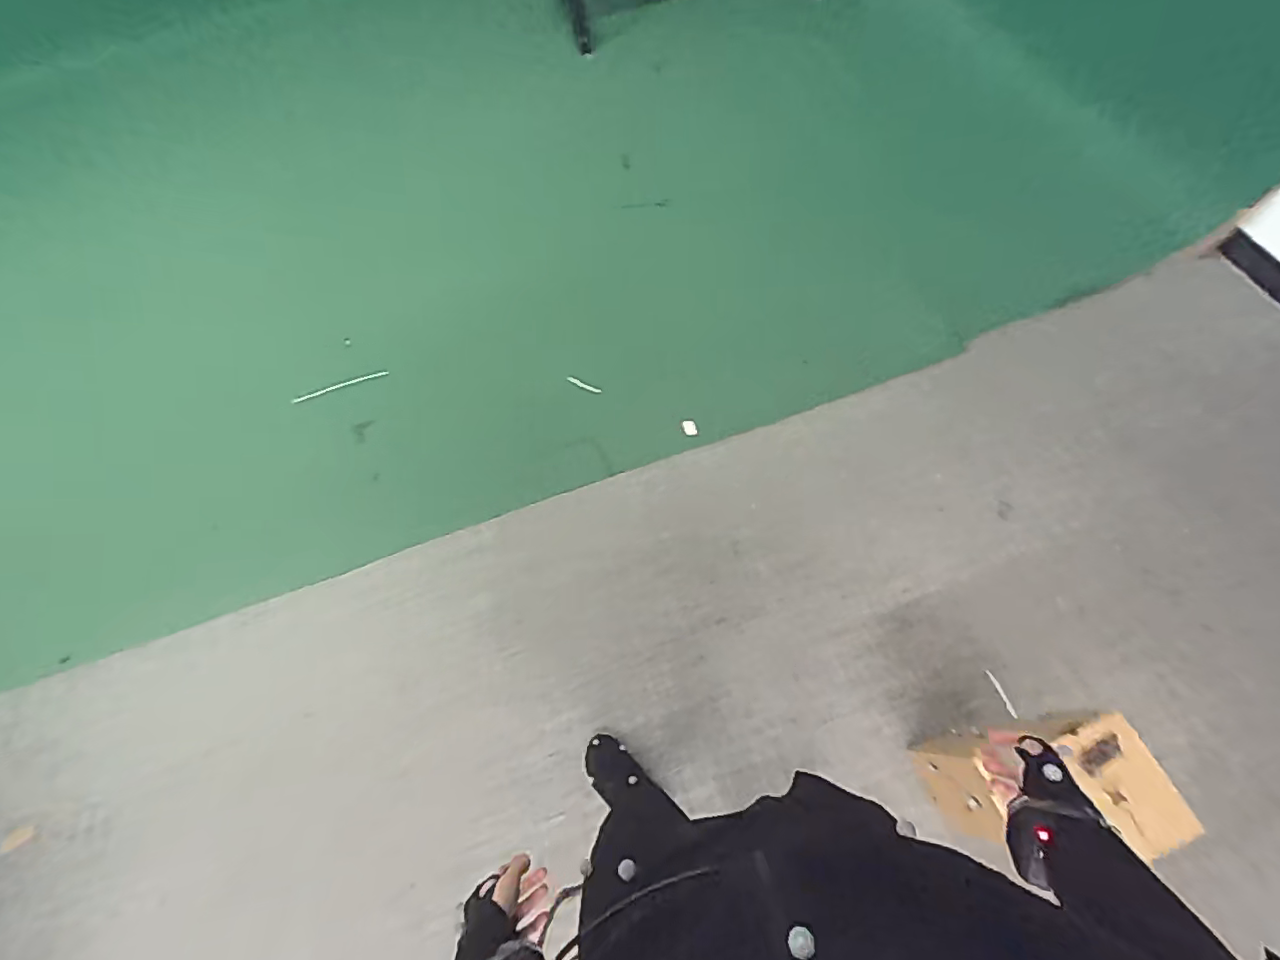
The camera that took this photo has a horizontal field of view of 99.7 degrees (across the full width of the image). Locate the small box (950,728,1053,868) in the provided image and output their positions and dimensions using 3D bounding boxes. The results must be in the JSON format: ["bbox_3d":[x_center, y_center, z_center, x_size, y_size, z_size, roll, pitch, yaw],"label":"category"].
[{"bbox_3d":[0.709,0.574,0.995,0.179,0.176,0.168,-22,66,-4],"label":"small box"}]

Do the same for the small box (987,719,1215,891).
[{"bbox_3d":[0.699,0.496,0.850,0.168,0.176,0.179,-20,66,-5],"label":"small box"}]
